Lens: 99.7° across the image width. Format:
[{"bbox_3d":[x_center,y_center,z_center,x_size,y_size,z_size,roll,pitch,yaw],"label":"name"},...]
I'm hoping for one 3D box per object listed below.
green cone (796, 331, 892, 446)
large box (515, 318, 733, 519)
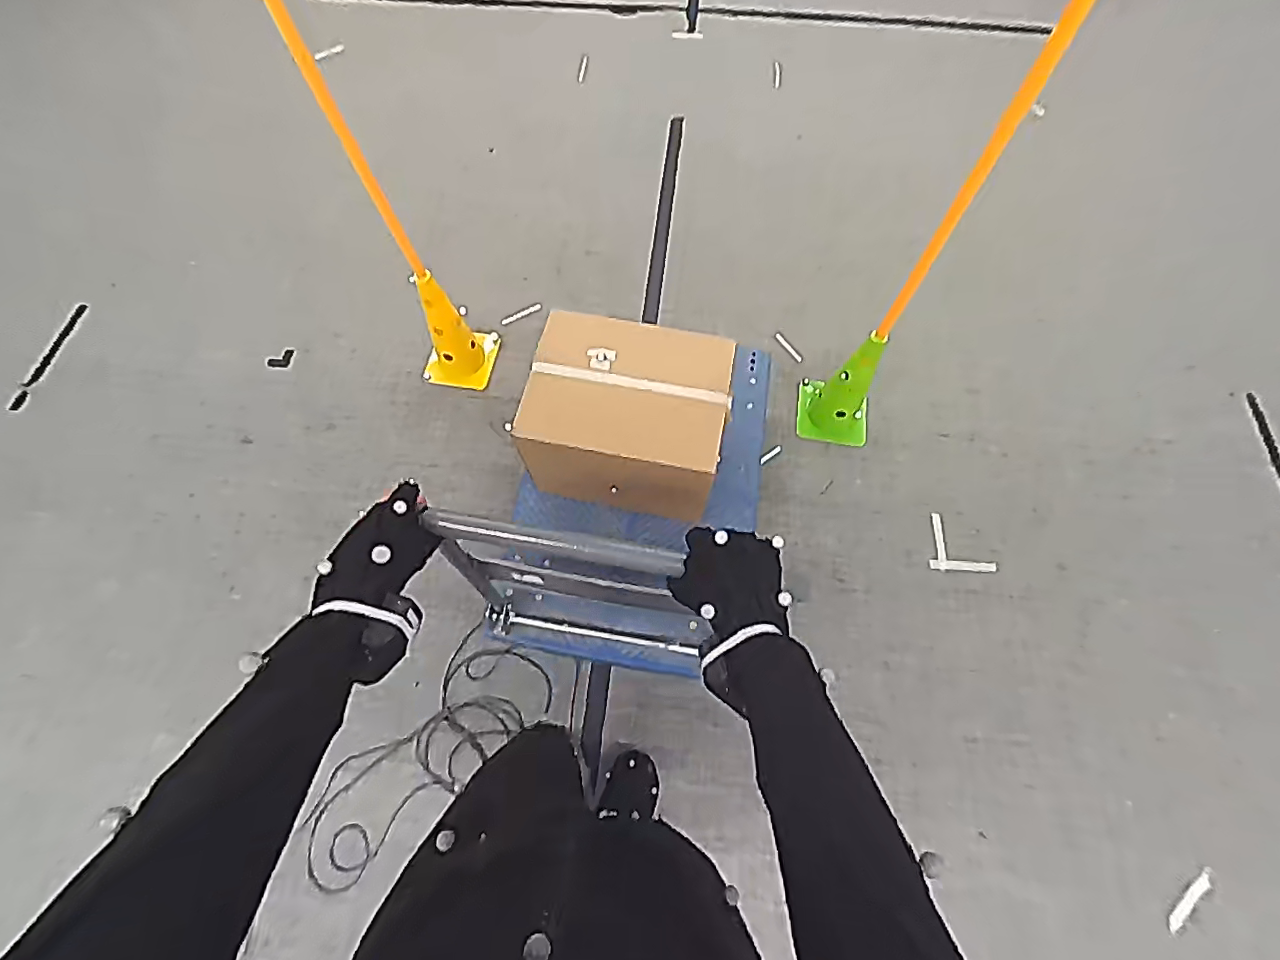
[{"bbox_3d":[0.572,-0.268,1.451,0.202,0.368,0.200,10,68,3],"label":"green cone"},{"bbox_3d":[-0.021,-0.127,1.241,0.408,0.320,0.320,11,68,6],"label":"large box"}]
